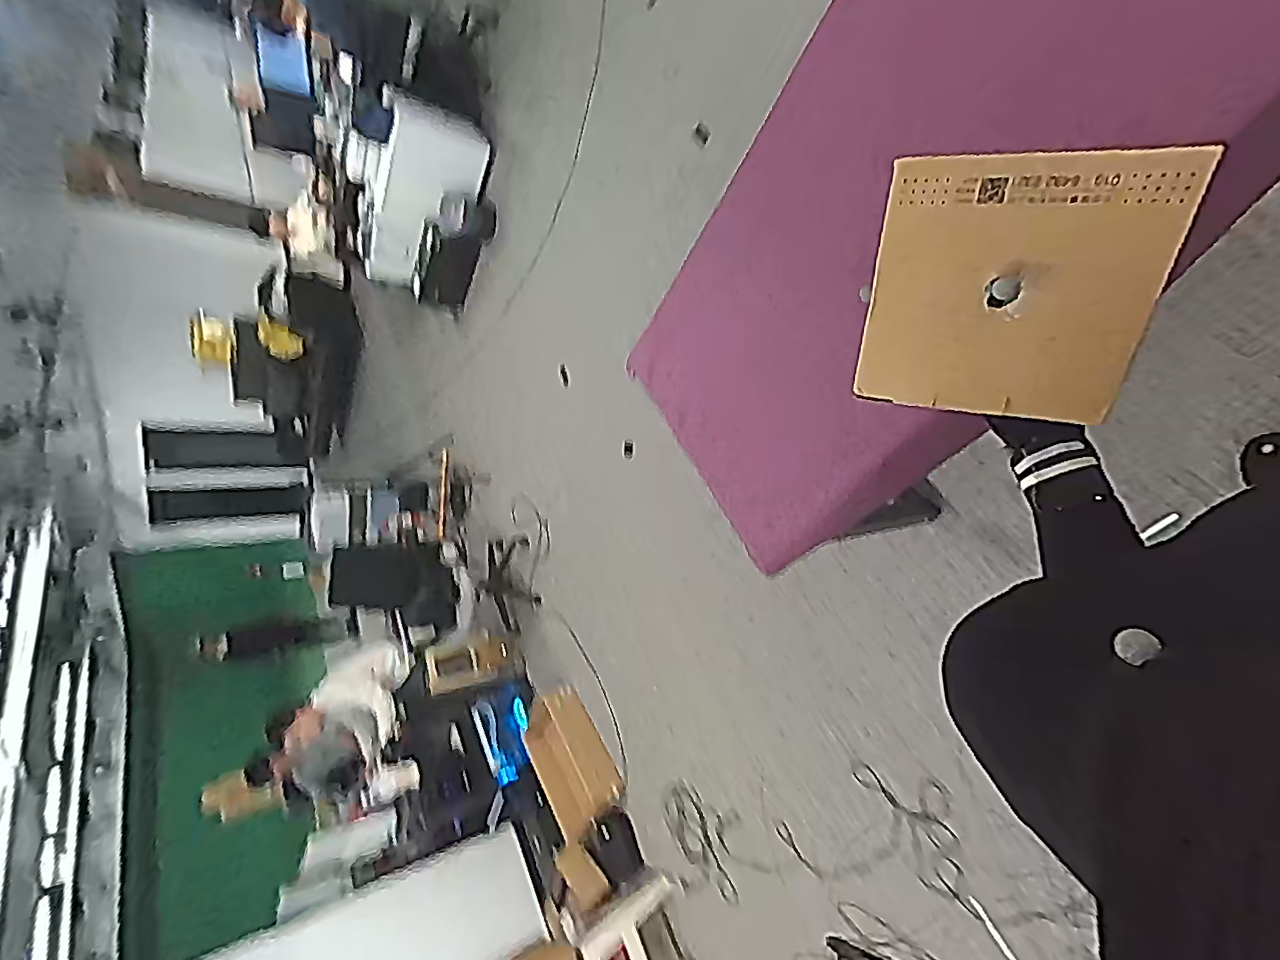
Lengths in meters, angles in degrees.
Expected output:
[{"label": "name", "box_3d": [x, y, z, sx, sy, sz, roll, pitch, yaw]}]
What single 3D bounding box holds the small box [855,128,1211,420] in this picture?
[{"label": "small box", "box_3d": [0.273, -0.164, 0.413, 0.168, 0.179, 0.176, 13, 123, 24]}]
